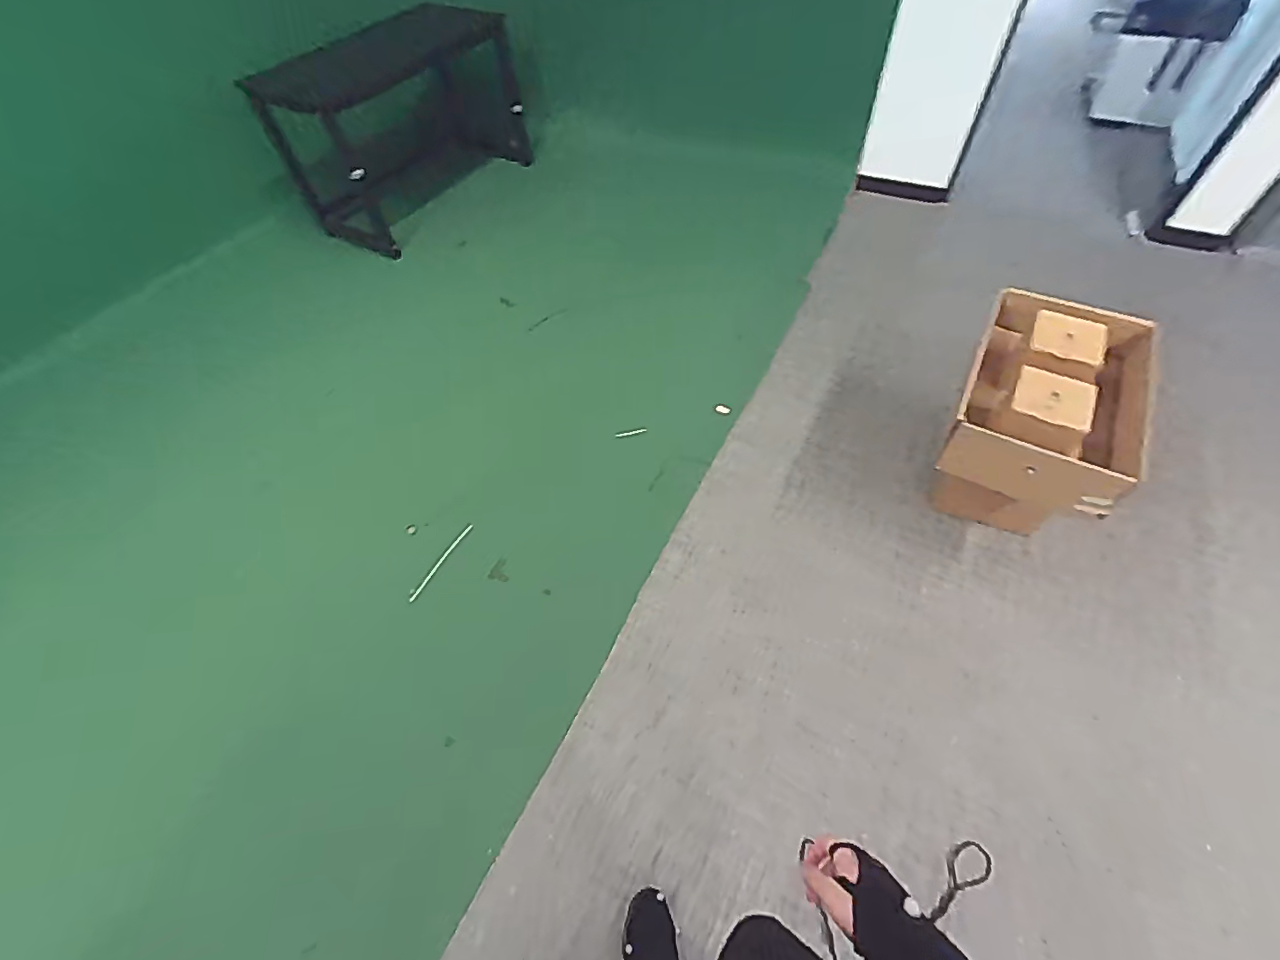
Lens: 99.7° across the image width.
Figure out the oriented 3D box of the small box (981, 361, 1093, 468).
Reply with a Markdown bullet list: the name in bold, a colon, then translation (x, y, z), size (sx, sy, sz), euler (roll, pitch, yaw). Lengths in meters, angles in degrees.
- **small box**: translation (1.000, -0.164, 1.373), size (0.168, 0.176, 0.179), euler (24, 59, 20)

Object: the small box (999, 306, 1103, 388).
- **small box**: translation (1.131, -0.345, 1.497), size (0.168, 0.176, 0.179), euler (23, 61, 19)
